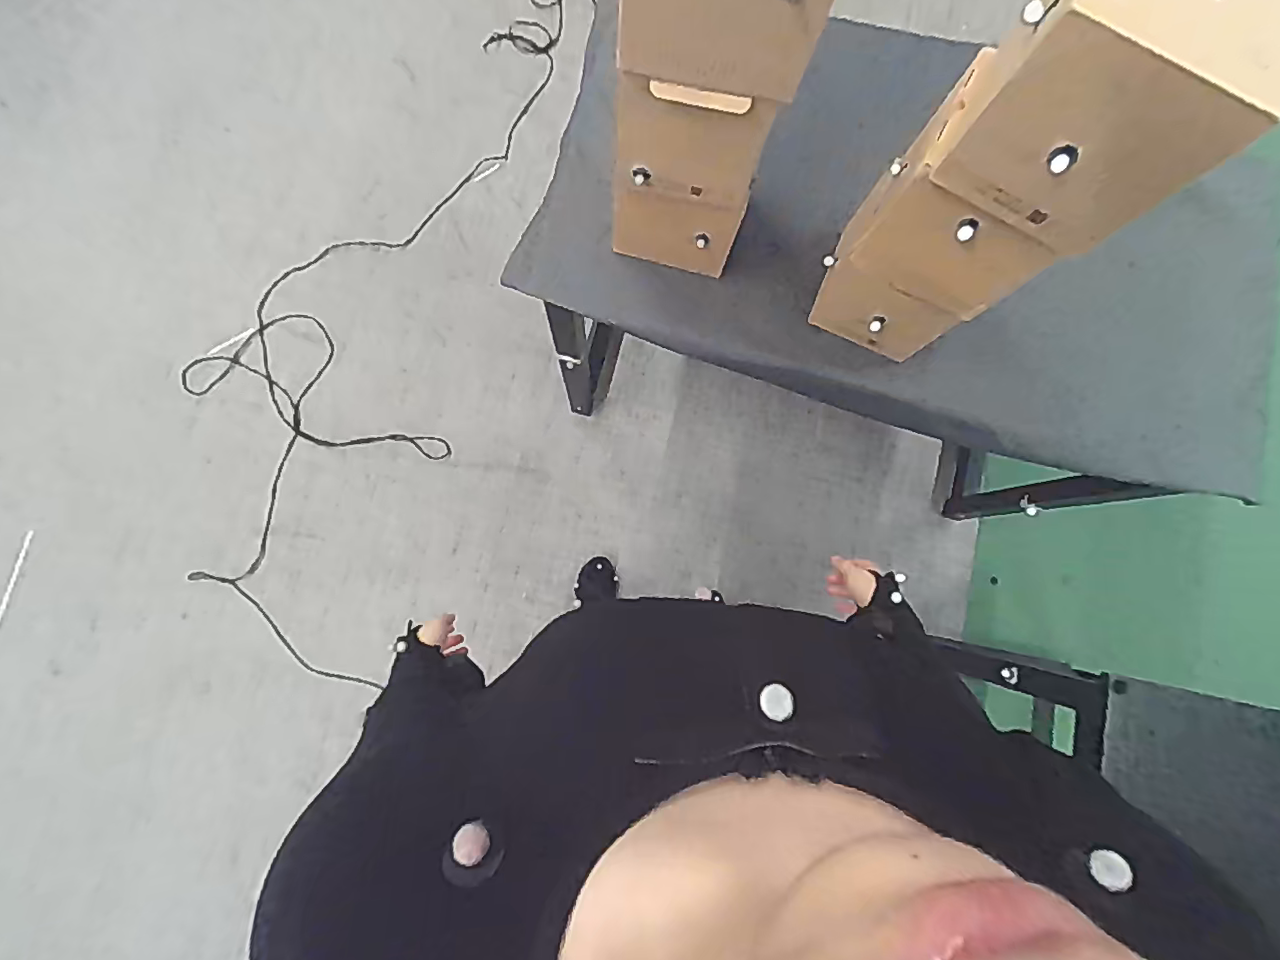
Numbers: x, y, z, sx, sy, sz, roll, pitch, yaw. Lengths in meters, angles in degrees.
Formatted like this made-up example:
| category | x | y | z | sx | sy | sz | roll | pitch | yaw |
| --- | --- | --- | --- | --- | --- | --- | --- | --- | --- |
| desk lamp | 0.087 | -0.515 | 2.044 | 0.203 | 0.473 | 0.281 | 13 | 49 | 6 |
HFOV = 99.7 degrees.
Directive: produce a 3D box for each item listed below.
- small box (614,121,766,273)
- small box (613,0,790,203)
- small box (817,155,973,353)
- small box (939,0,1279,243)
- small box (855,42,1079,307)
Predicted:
| category | x | y | z | sx | sy | sz | roll | pitch | yaw |
| --- | --- | --- | --- | --- | --- | --- | --- | --- | --- |
| small box | 0.065 | -0.427 | 0.784 | 0.179 | 0.176 | 0.168 | 13 | 79 | 0 |
| small box | 0.063 | -0.455 | 0.621 | 0.168 | 0.176 | 0.179 | 9 | 78 | -2 |
| small box | 0.376 | -0.309 | 0.778 | 0.168 | 0.176 | 0.179 | 23 | 81 | 2 |
| small box | 0.390 | -0.340 | 0.451 | 0.168 | 0.176 | 0.179 | 30 | 81 | 3 |
| small box | 0.385 | -0.326 | 0.616 | 0.179 | 0.176 | 0.168 | 28 | 80 | 3 |
